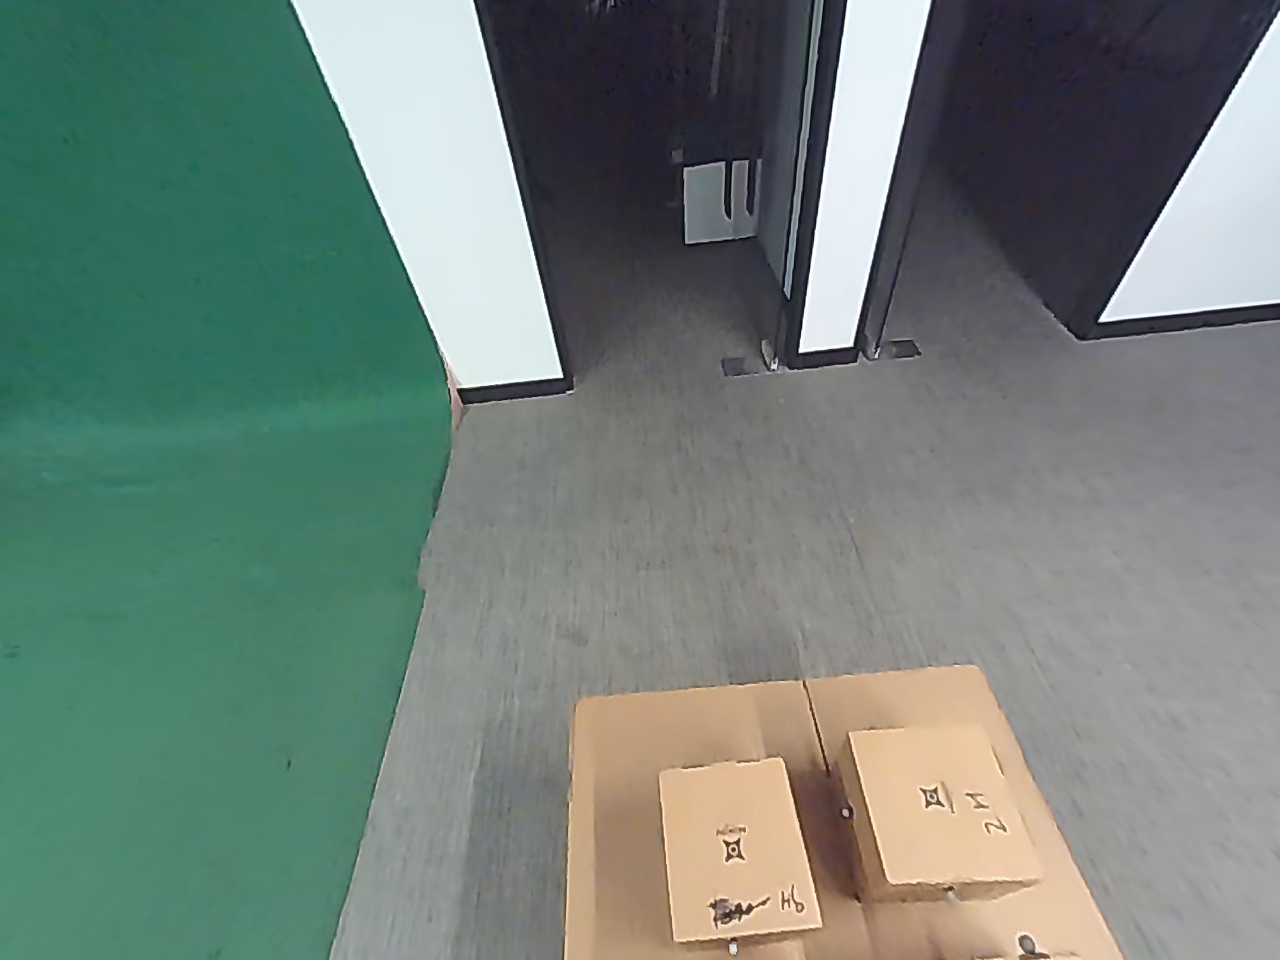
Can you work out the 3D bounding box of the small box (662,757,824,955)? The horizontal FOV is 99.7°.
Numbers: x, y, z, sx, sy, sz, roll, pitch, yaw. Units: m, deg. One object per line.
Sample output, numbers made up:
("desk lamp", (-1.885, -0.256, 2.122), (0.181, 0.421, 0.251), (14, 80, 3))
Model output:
("small box", (0.122, 0.485, 0.698), (0.168, 0.176, 0.179), (-8, 45, 3))
